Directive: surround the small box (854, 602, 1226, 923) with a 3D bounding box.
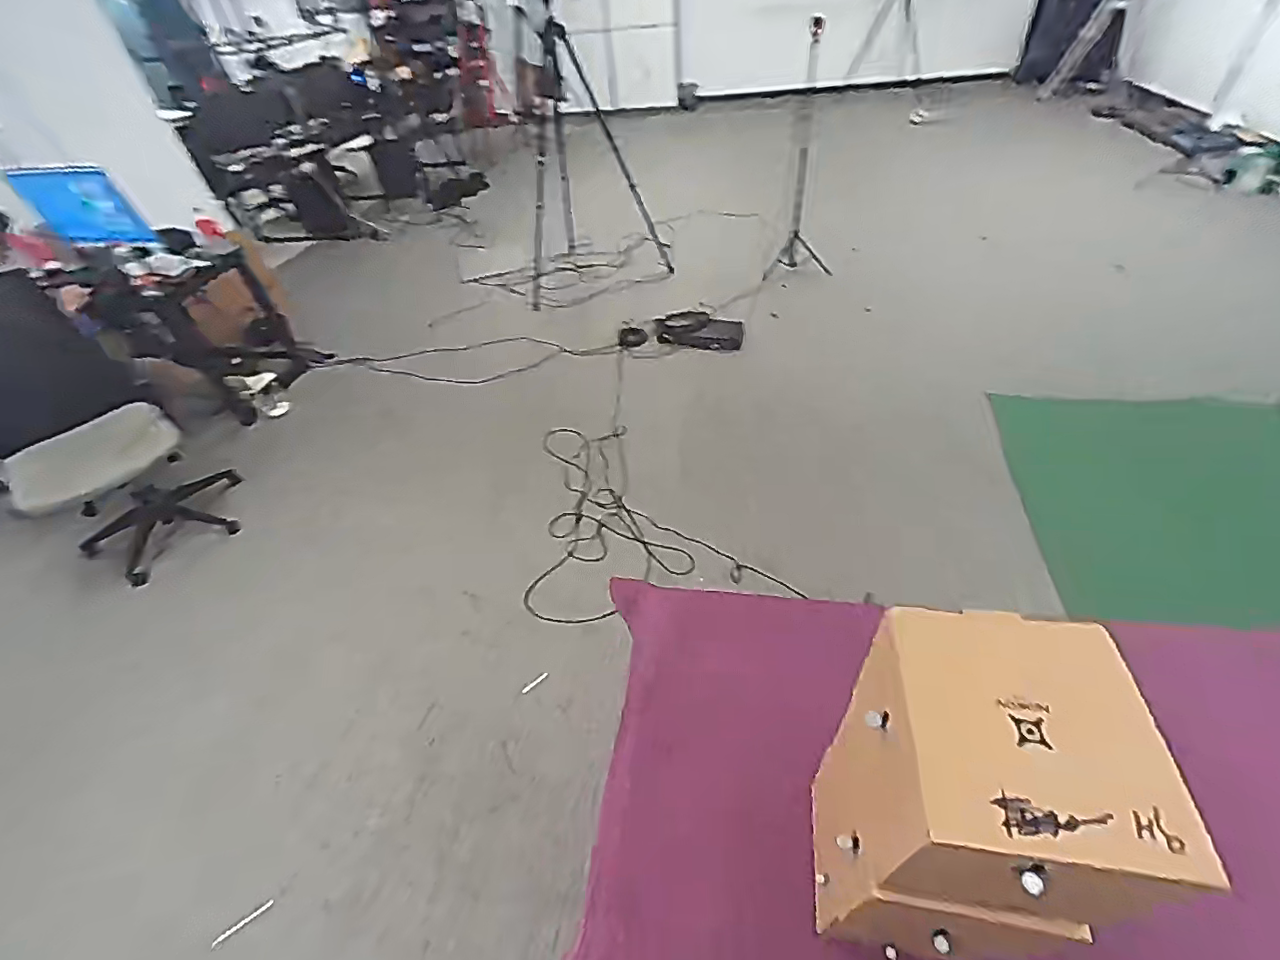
[{"bbox_3d":[0.280,0.224,0.439,0.168,0.176,0.179,2,45,11],"label":"small box"}]

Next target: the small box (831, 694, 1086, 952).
[{"bbox_3d":[0.294,0.347,0.549,0.168,0.176,0.179,4,46,11],"label":"small box"}]
